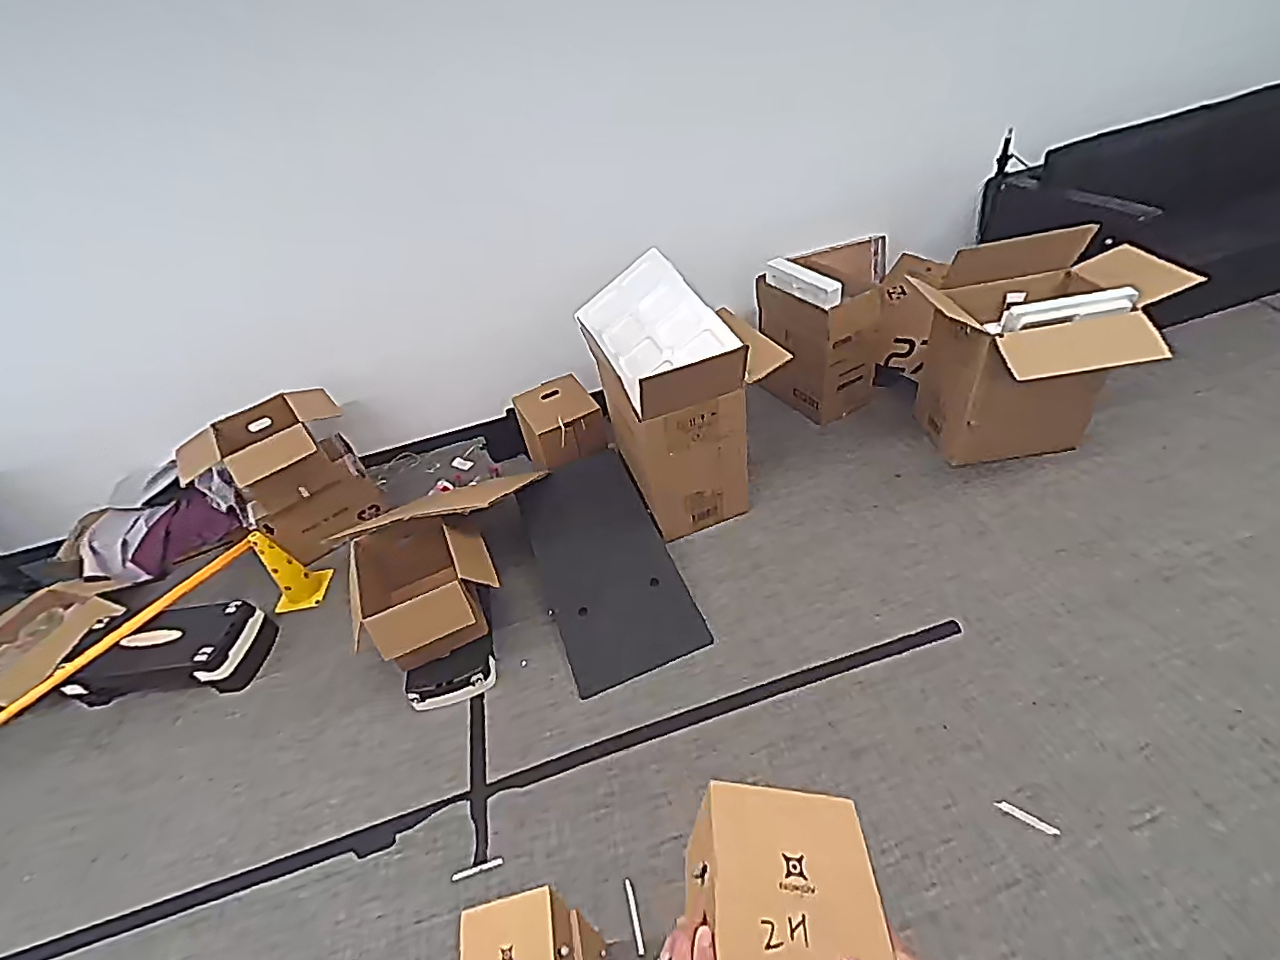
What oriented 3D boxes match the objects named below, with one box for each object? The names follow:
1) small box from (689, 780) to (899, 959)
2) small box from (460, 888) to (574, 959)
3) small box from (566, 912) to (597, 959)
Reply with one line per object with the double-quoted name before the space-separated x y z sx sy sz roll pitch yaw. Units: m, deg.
"small box" 0.144 0.457 0.568 0.168 0.176 0.179 8 31 0
"small box" -0.215 0.876 0.966 0.168 0.176 0.179 -14 41 -5
"small box" -0.180 0.999 1.067 0.179 0.176 0.168 -15 40 -6
